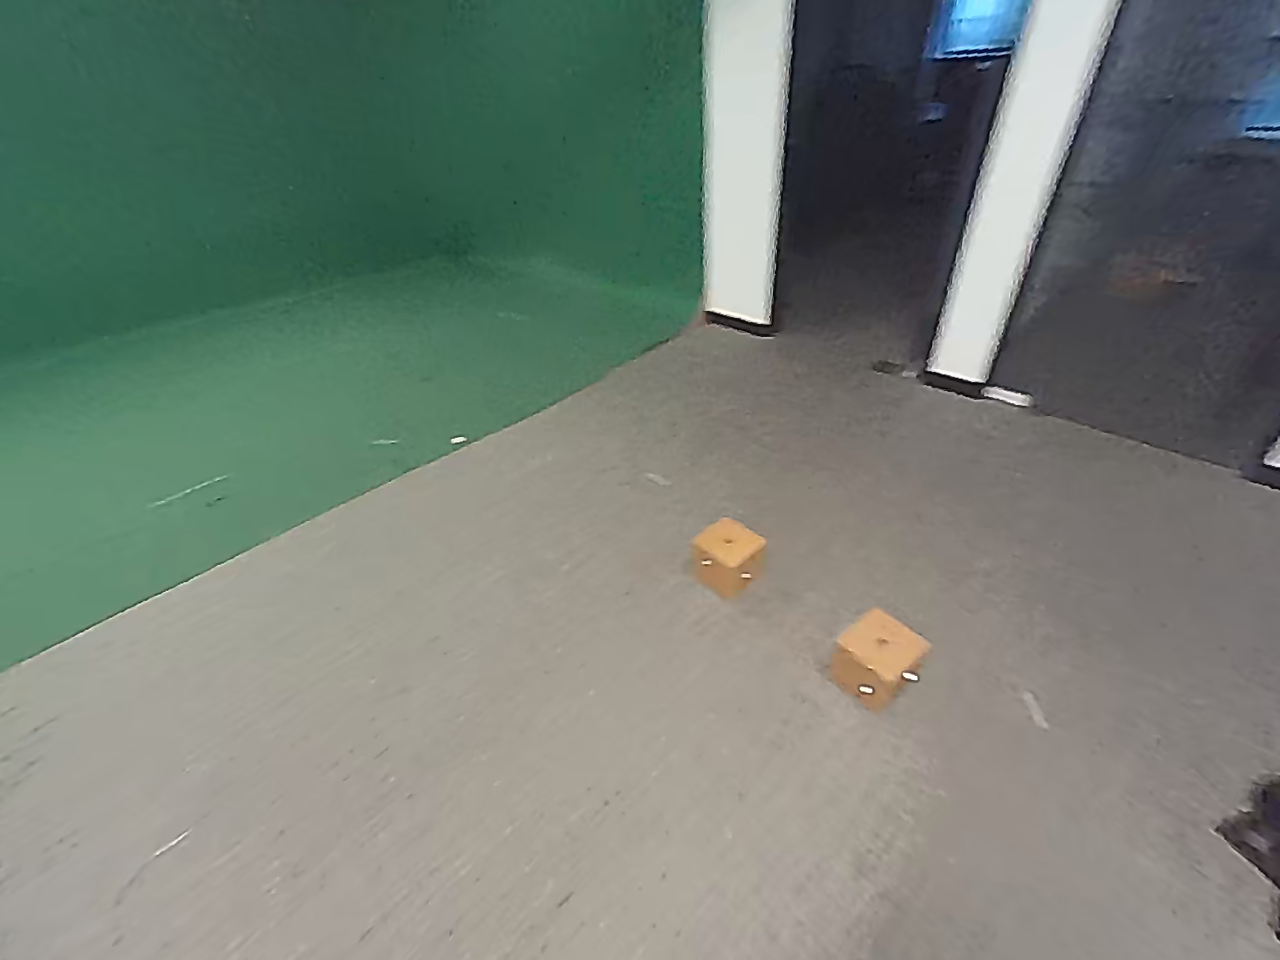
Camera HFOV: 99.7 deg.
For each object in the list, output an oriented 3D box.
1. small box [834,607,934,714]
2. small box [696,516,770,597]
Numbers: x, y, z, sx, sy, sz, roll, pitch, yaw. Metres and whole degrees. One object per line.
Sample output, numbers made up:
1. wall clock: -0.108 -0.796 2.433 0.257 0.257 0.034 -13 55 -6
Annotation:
1. small box: 0.641 0.484 1.440 0.179 0.176 0.168 -27 44 -26
2. small box: 0.304 0.256 1.770 0.168 0.176 0.179 -31 44 -28
